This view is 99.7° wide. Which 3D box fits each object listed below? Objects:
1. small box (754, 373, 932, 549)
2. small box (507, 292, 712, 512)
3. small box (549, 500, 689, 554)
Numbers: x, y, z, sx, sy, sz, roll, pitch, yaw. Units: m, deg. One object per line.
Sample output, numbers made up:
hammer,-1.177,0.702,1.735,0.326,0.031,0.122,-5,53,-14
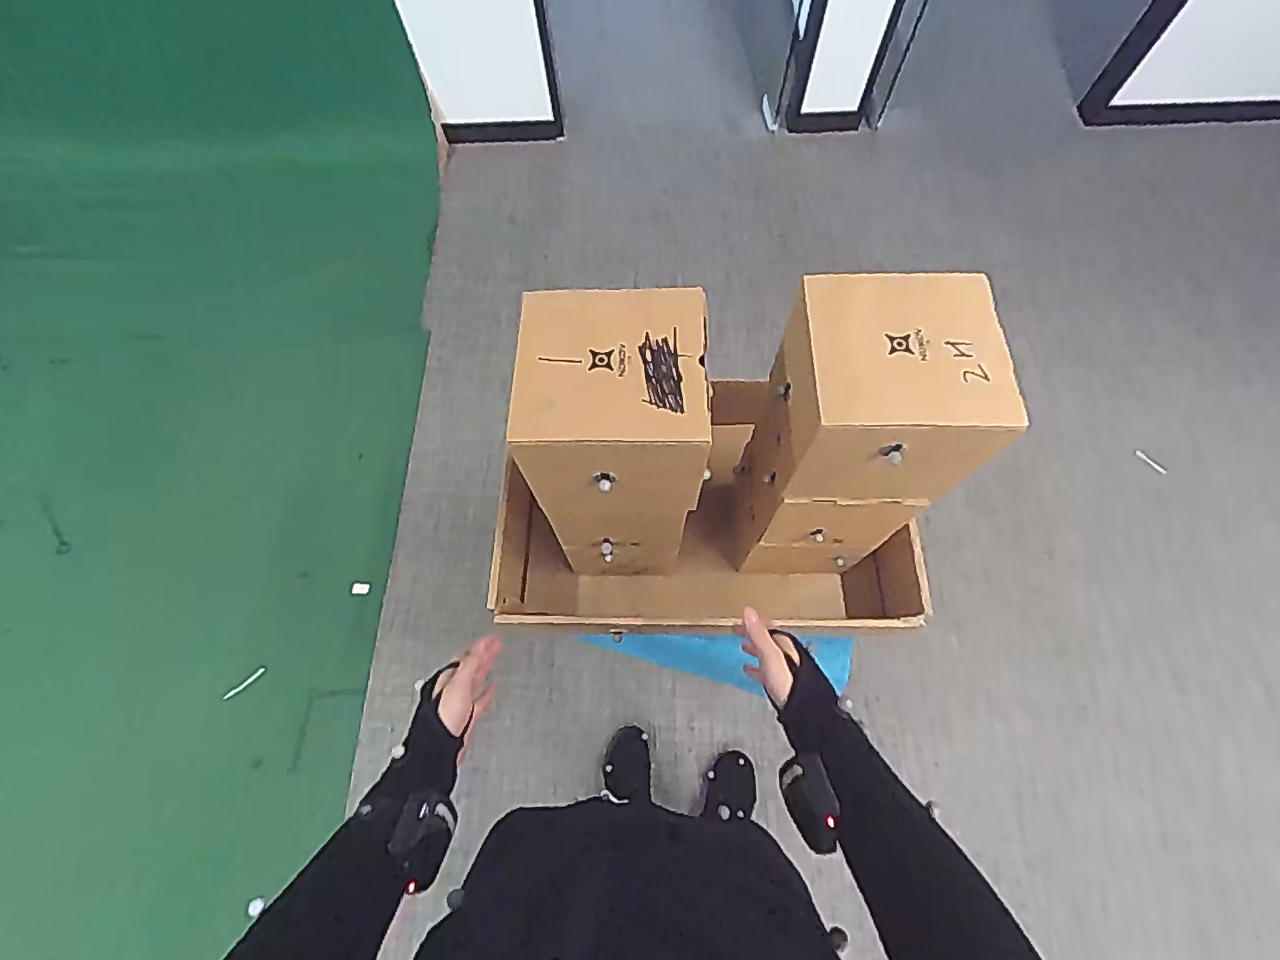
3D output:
small box,0.247,-0.019,0.707,0.168,0.176,0.179,1,67,2
small box,-0.024,-0.071,0.560,0.179,0.176,0.168,0,66,2
small box,-0.023,-0.011,0.712,0.168,0.176,0.179,1,67,2
